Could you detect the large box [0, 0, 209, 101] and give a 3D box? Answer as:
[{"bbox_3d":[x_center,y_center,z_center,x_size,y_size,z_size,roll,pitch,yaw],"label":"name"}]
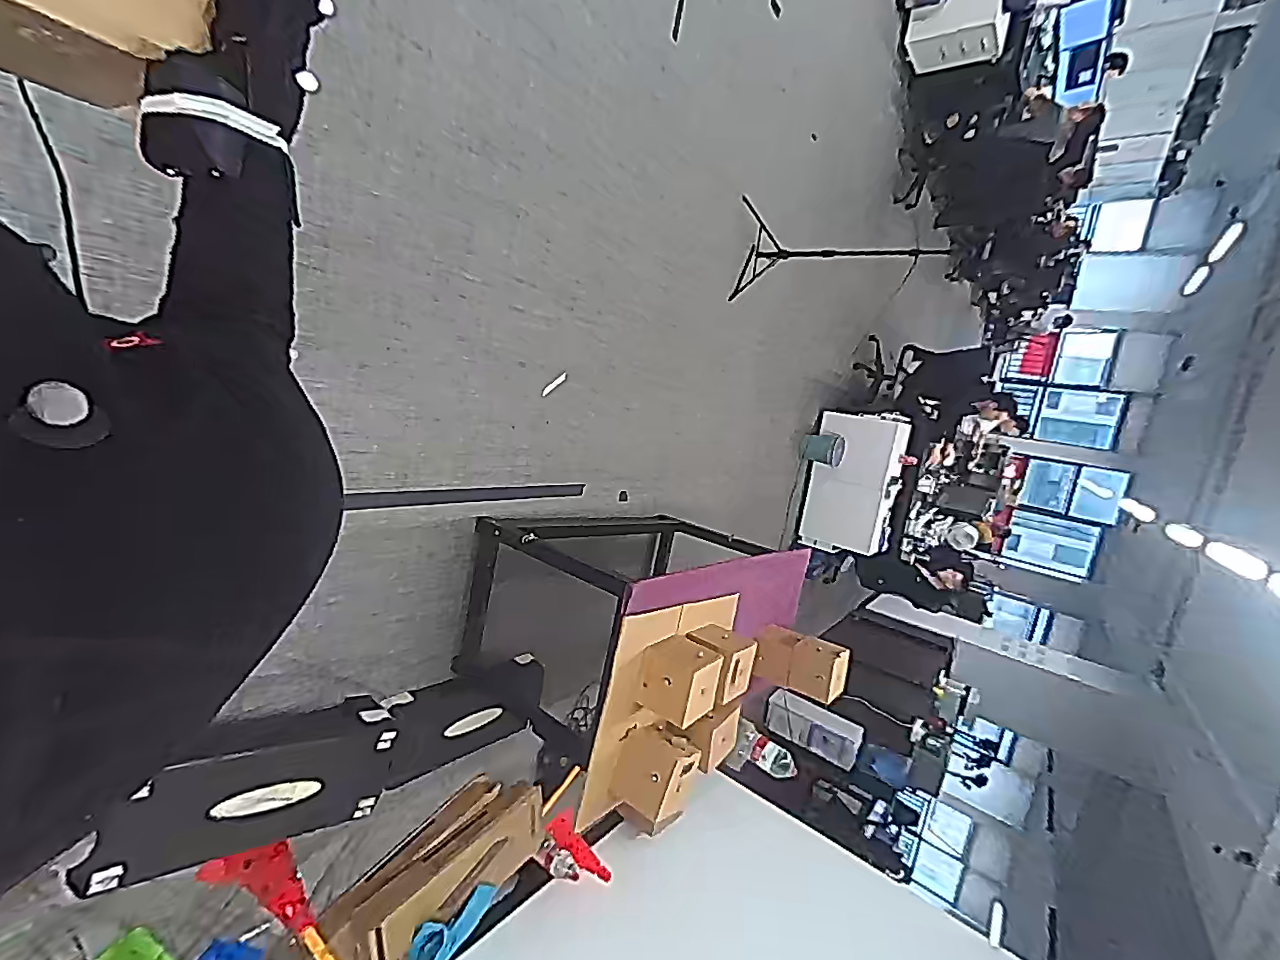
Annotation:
[{"bbox_3d":[-0.516,-0.472,0.282,0.408,0.320,0.320,-4,113,-55],"label":"large box"}]
